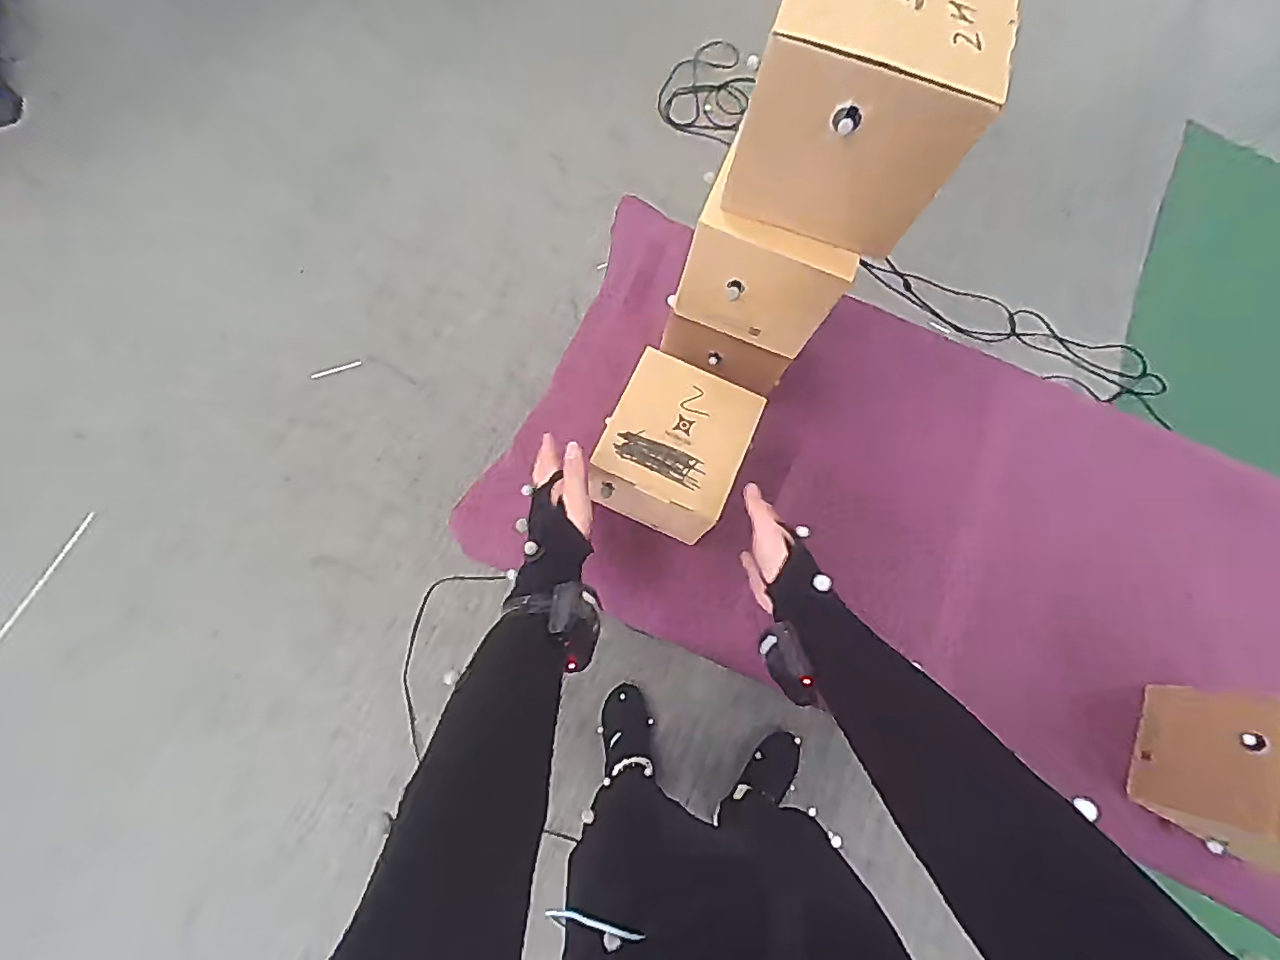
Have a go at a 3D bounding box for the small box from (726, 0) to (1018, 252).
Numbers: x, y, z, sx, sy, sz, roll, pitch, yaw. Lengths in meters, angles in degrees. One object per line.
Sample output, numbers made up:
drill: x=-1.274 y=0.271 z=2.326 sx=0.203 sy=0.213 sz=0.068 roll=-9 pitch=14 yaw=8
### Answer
small box: x=0.191 y=-0.339 z=0.484 sx=0.179 sy=0.176 sz=0.168 roll=19 pitch=74 yaw=0

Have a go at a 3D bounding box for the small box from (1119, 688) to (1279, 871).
small box: x=0.770 y=0.377 z=0.677 sx=0.179 sy=0.176 sz=0.168 roll=28 pitch=73 yaw=3

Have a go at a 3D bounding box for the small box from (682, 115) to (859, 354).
small box: x=0.156 y=-0.278 z=0.635 sx=0.168 sy=0.176 sz=0.179 roll=22 pitch=73 yaw=1
